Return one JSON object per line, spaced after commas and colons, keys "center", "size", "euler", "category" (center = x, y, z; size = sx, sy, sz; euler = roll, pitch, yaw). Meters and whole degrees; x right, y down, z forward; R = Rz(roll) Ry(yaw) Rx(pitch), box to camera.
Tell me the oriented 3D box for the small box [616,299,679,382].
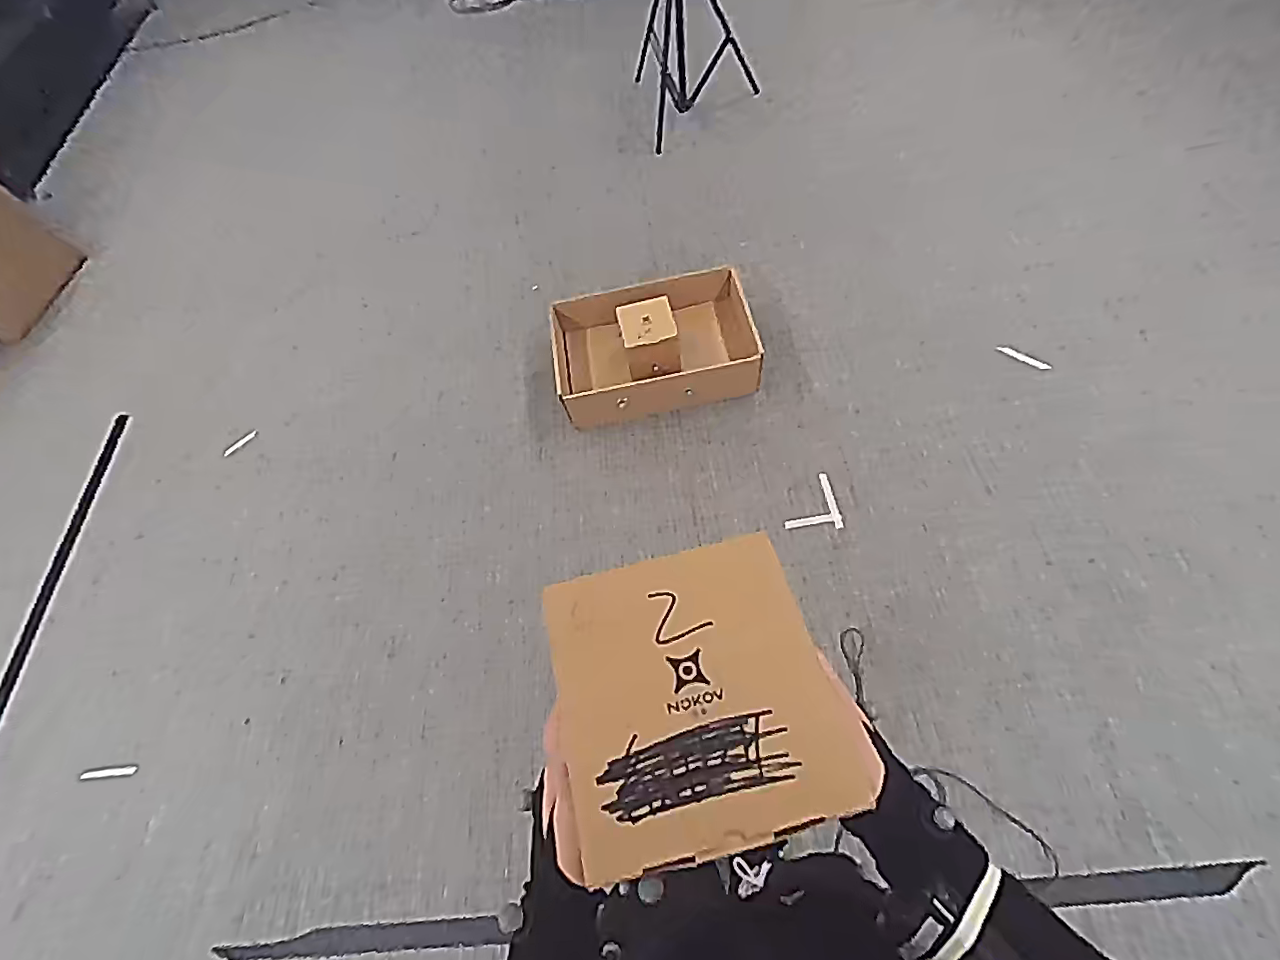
{"center": [0.026, -0.441, 1.723], "size": [0.168, 0.176, 0.179], "euler": [-13, 62, 1], "category": "small box"}
